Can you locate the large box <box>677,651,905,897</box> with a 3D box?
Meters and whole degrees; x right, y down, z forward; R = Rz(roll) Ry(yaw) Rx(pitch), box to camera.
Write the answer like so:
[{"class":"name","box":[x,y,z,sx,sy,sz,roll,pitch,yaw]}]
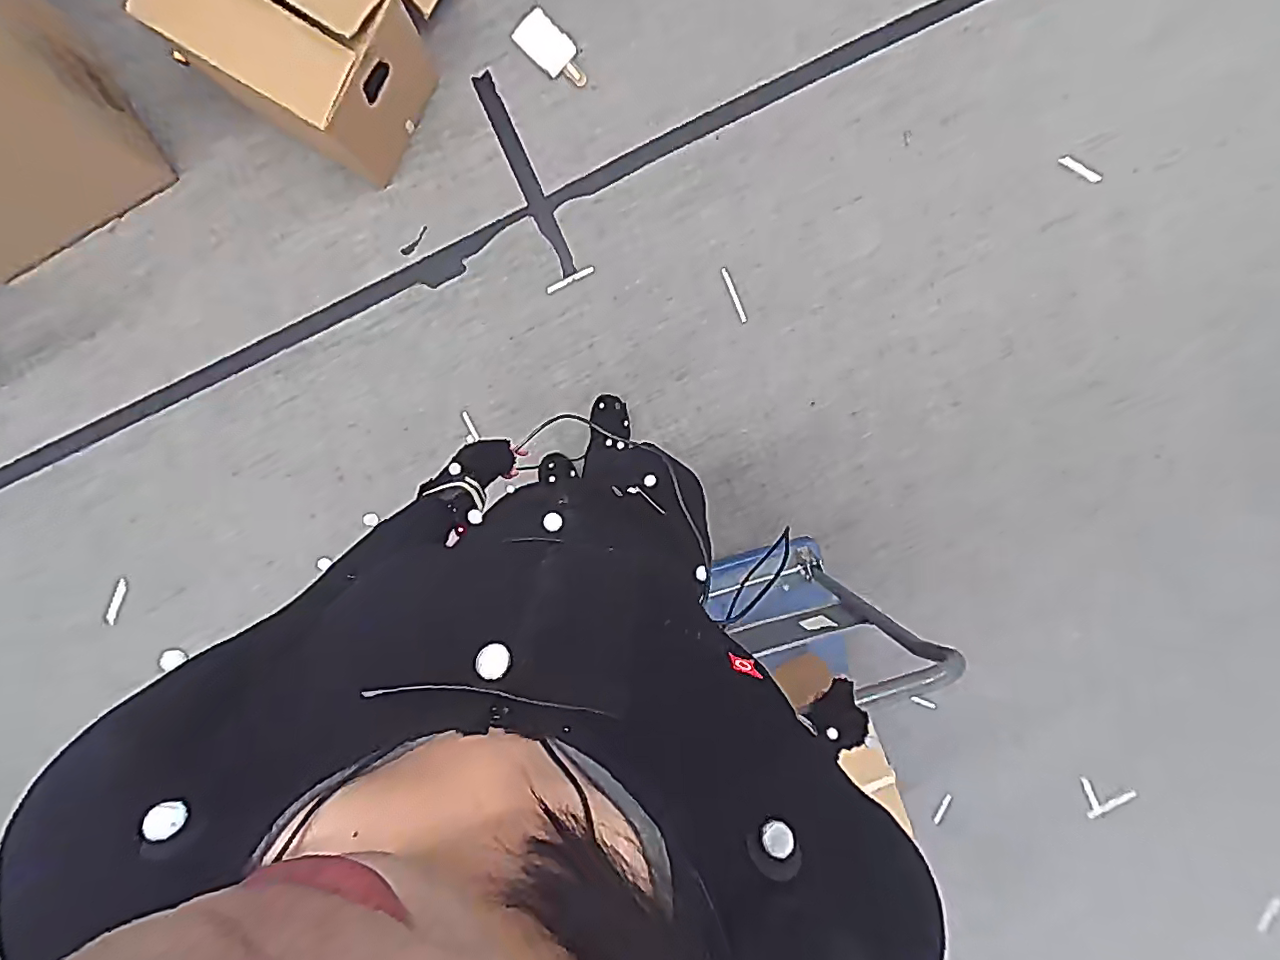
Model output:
[{"class":"large box","box":[0.343,0.686,1.317,0.408,0.320,0.320,-23,98,0]}]
